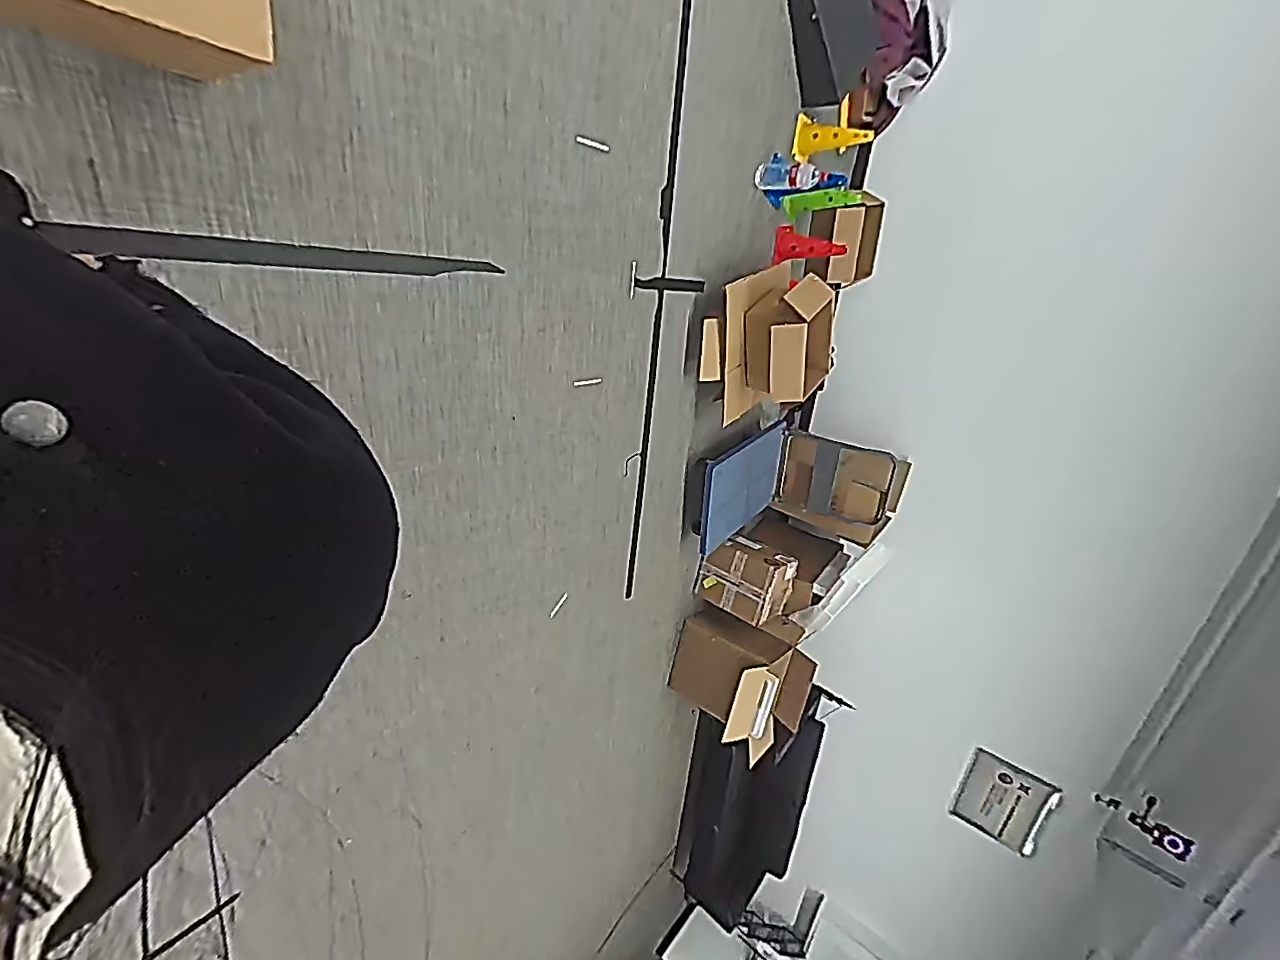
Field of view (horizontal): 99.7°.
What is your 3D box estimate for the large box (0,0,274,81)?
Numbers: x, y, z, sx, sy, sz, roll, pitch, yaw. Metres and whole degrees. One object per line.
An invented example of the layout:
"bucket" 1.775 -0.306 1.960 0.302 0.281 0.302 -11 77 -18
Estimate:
"large box" -0.818 -0.823 0.760 0.408 0.320 0.320 -18 123 -50
